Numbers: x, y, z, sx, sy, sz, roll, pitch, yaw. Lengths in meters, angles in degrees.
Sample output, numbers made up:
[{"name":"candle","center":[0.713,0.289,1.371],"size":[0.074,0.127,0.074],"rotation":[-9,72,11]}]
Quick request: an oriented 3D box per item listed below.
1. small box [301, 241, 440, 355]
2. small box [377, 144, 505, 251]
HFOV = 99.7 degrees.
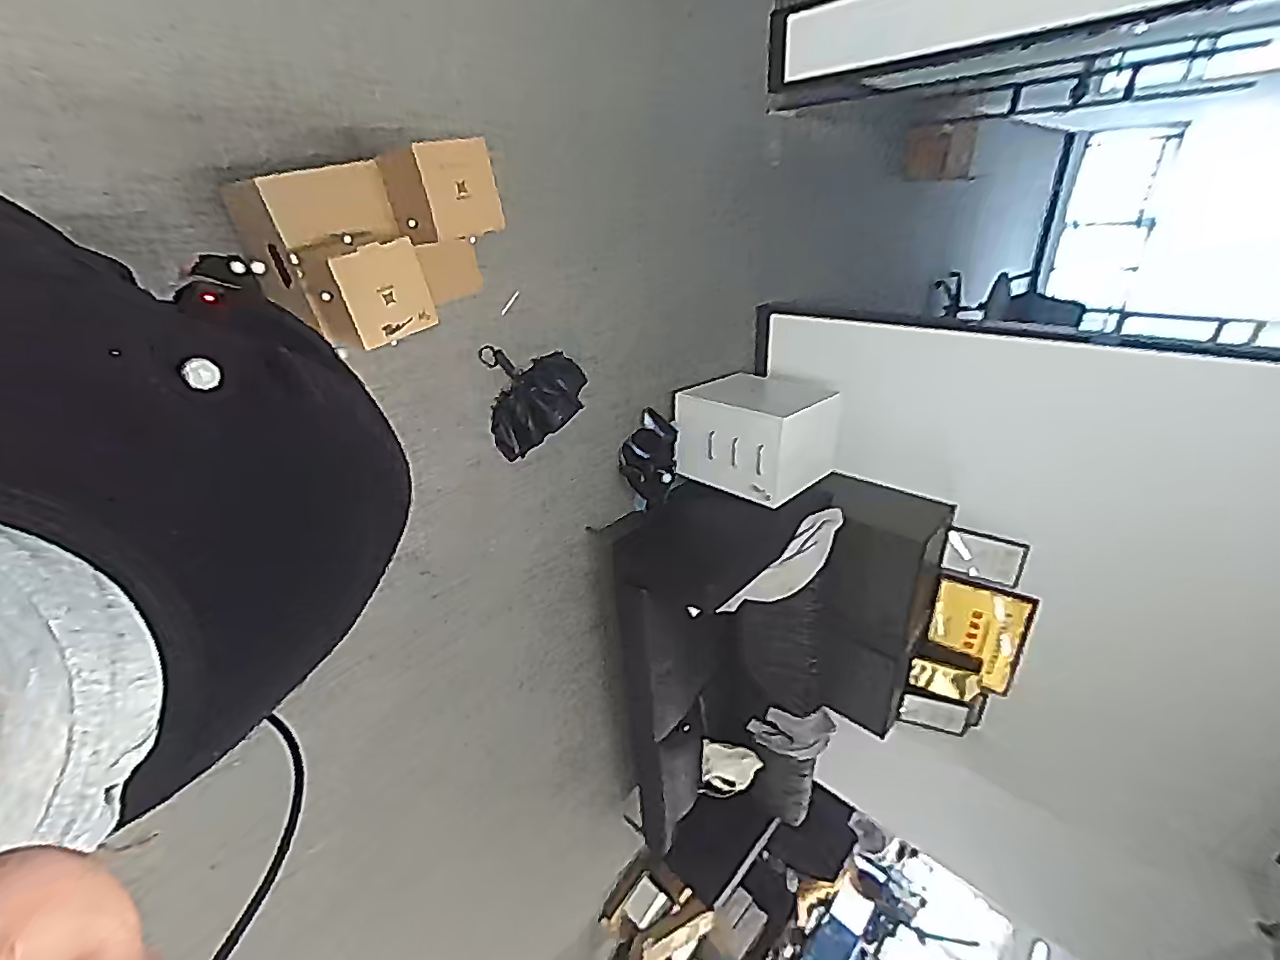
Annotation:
[{"name":"small box","center":[-0.546,-0.373,1.095],"size":[0.168,0.176,0.179],"rotation":[-37,132,-33]},{"name":"small box","center":[-0.421,-0.594,1.148],"size":[0.168,0.176,0.179],"rotation":[-35,126,-36]}]
